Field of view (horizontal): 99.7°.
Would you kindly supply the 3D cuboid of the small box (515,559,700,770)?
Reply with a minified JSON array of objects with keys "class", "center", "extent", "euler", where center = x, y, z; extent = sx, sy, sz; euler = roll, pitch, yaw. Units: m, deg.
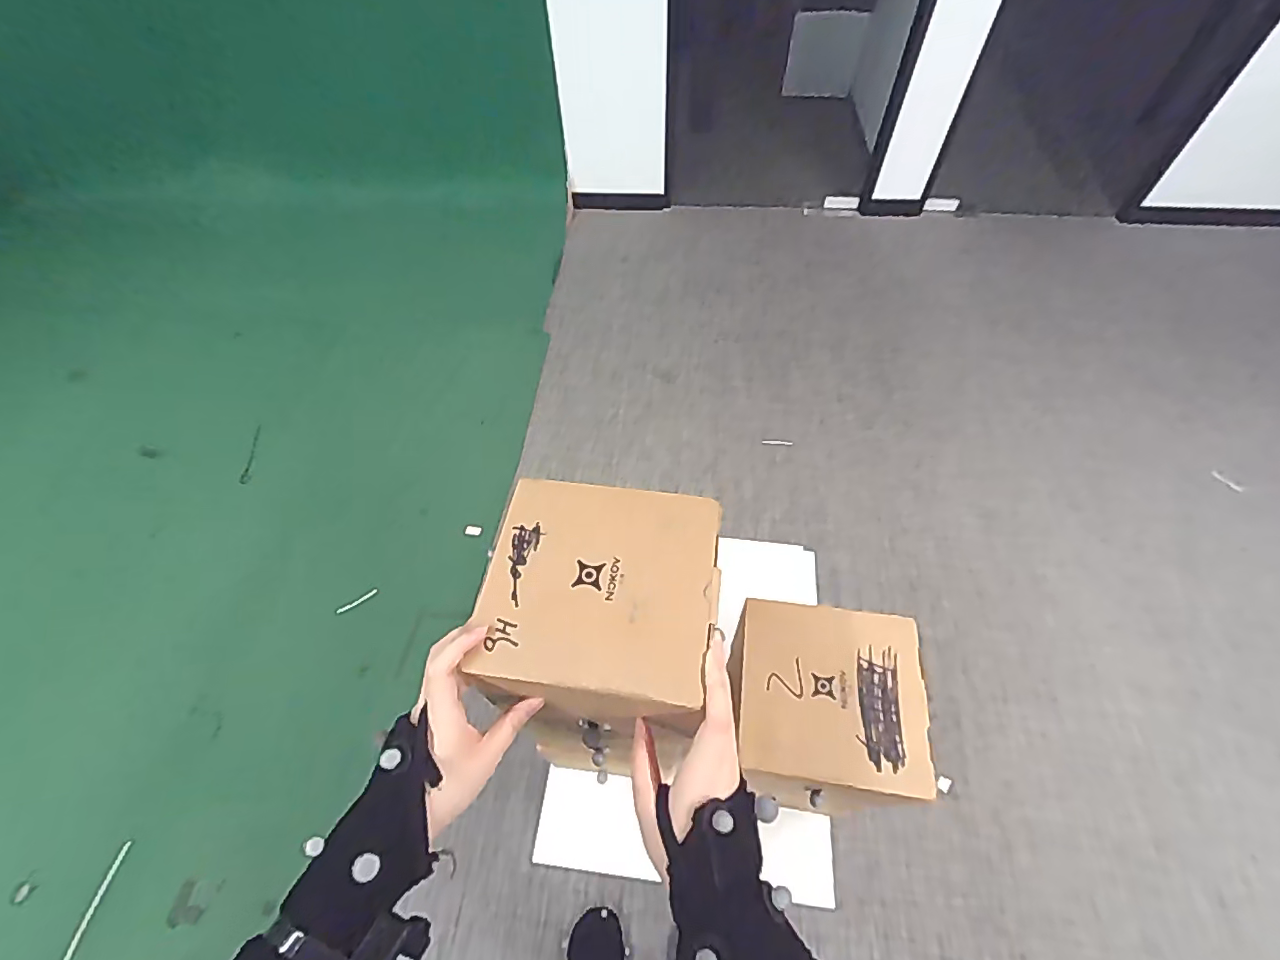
[{"class":"small box","center":[-0.027,0.214,0.618],"extent":[0.168,0.176,0.179],"euler":[6,56,6]}]

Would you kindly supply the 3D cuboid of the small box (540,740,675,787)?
[{"class":"small box","center":[-0.029,0.310,0.751],"extent":[0.168,0.176,0.179],"euler":[6,57,5]}]

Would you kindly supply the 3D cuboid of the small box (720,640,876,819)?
[{"class":"small box","center":[0.200,0.337,0.726],"extent":[0.168,0.176,0.179],"euler":[6,56,7]}]
